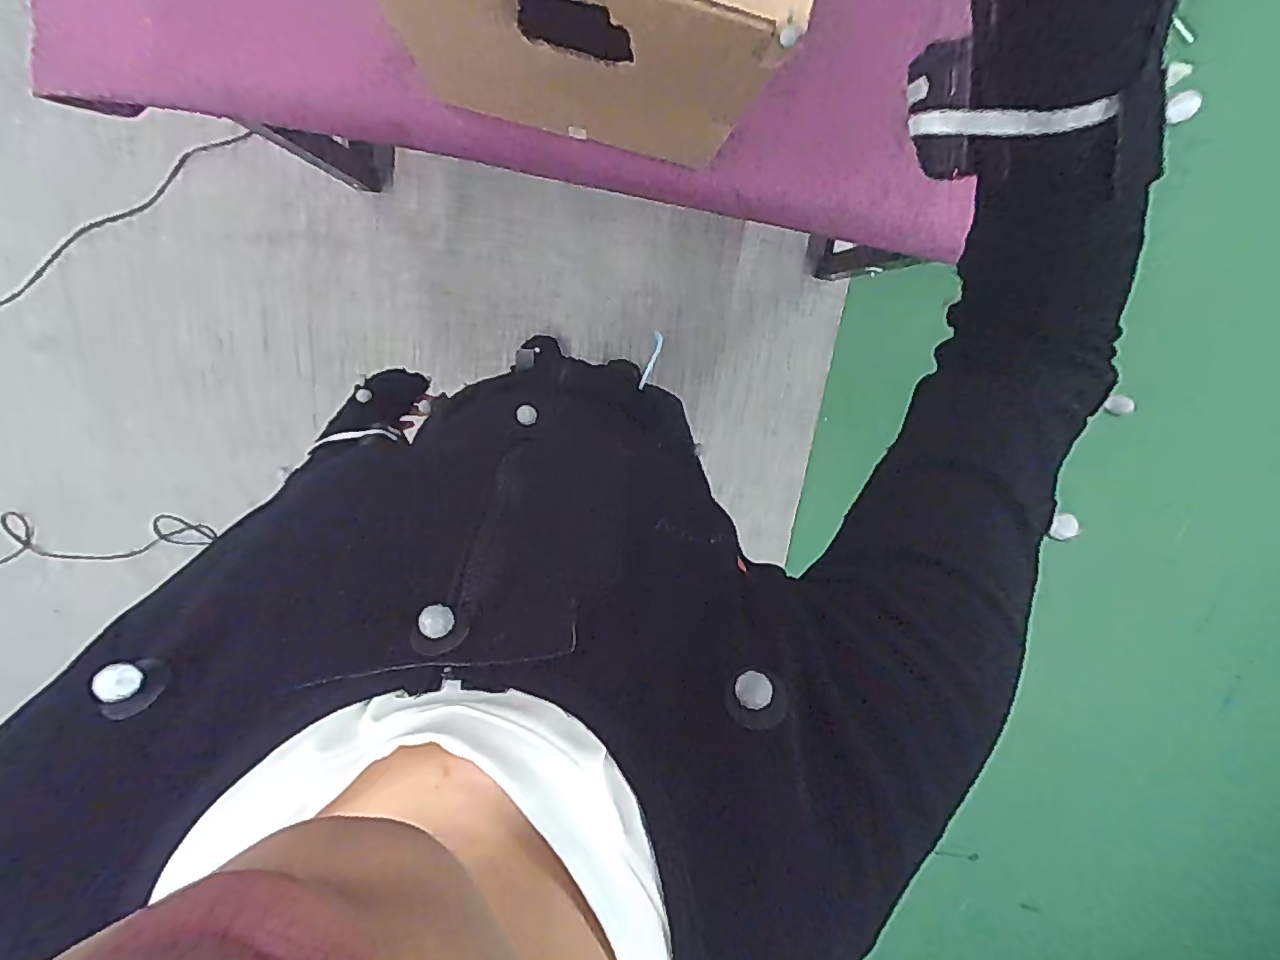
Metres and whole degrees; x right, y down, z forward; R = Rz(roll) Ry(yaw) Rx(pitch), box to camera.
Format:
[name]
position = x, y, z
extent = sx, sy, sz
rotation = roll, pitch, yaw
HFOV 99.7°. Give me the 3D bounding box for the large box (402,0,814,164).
[large box]
position = -0.011, -0.556, 0.449
extent = 0.320, 0.320, 0.408
rotation = 10, 105, -8
